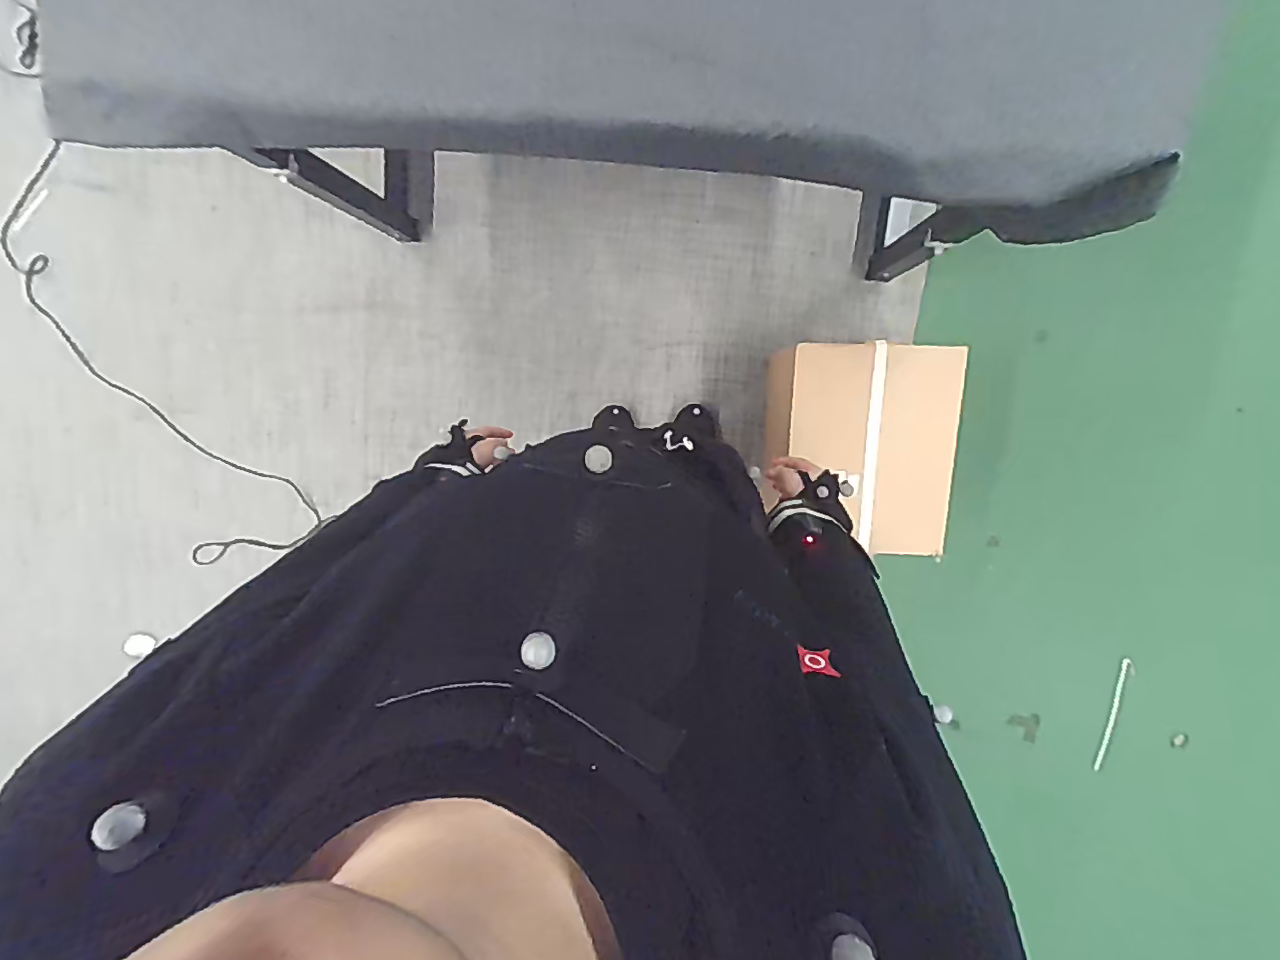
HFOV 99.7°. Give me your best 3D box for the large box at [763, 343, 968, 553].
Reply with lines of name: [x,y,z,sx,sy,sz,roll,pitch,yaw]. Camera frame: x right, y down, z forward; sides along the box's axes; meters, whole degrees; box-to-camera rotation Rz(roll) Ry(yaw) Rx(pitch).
large box: [0.453,-0.084,1.172,0.320,0.320,0.408,2,101,4]
